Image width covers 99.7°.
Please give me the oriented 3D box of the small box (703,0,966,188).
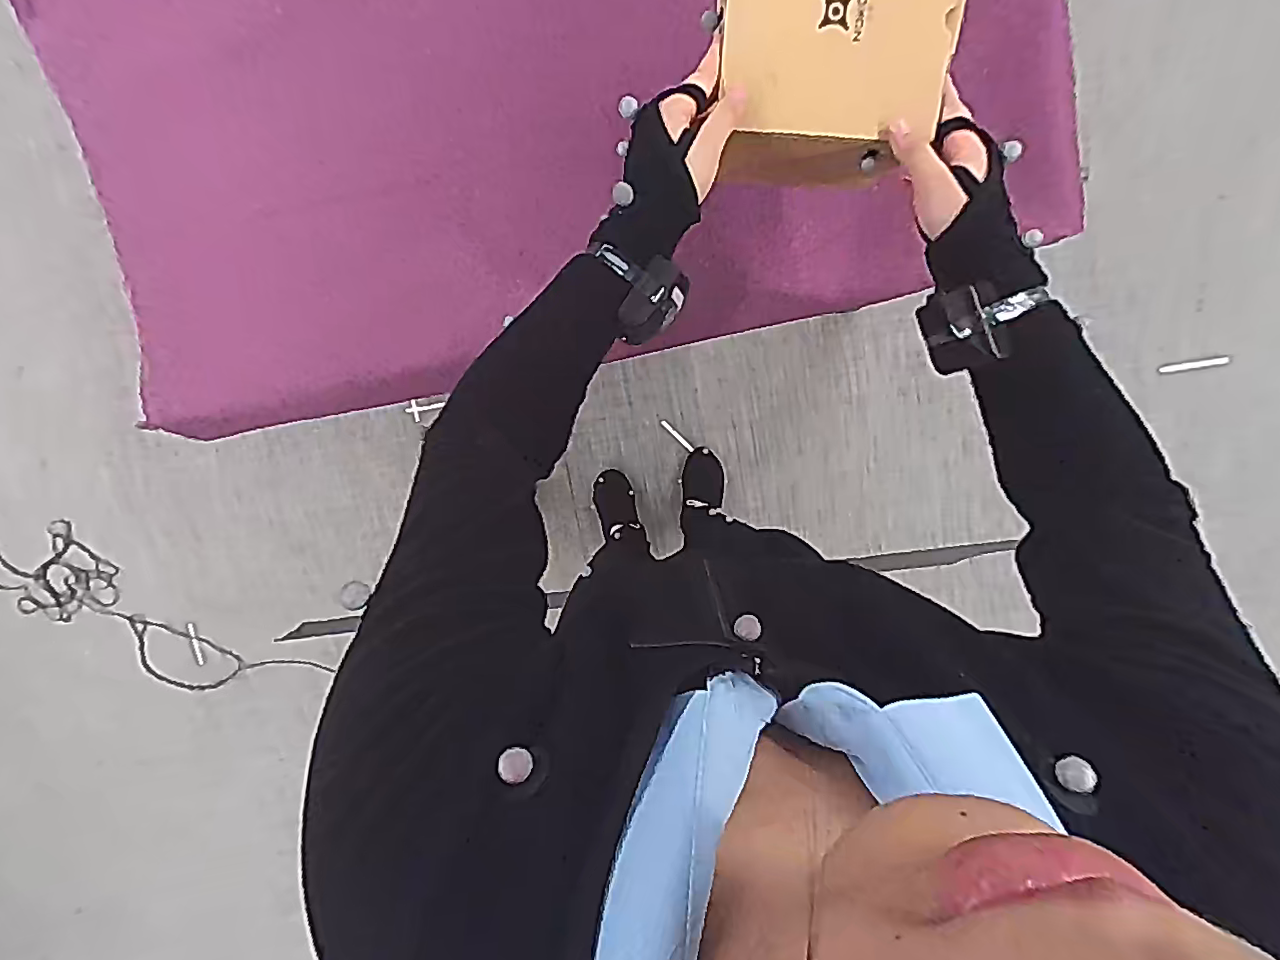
[{"bbox_3d":[0.152,-0.365,0.471,0.179,0.176,0.168,4,107,1],"label":"small box"}]
